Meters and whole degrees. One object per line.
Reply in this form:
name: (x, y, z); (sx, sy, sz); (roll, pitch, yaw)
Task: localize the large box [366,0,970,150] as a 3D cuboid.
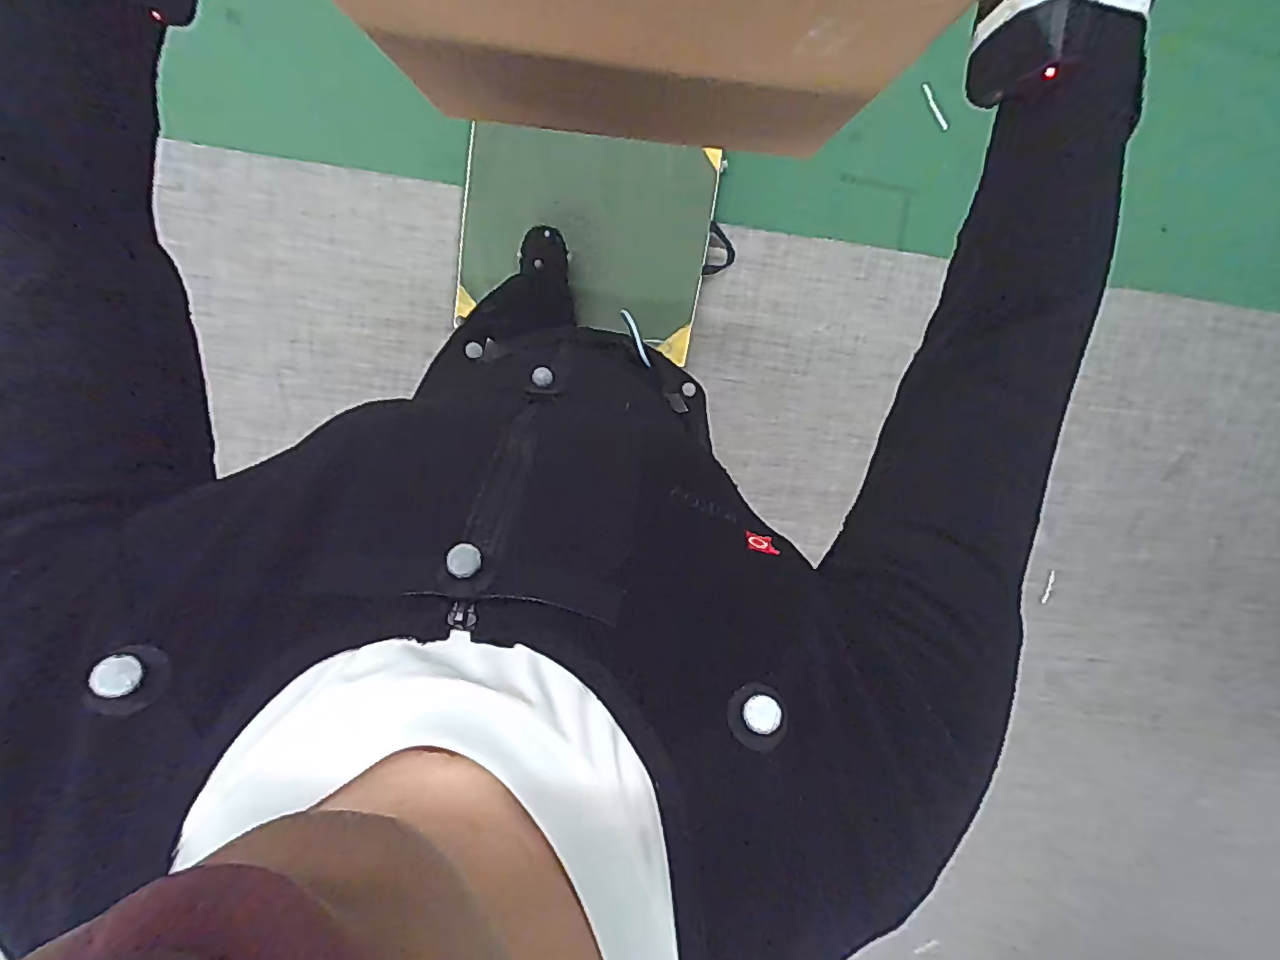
large box: (0.011, -0.481, 0.405); (0.408, 0.320, 0.320); (5, 107, -3)
